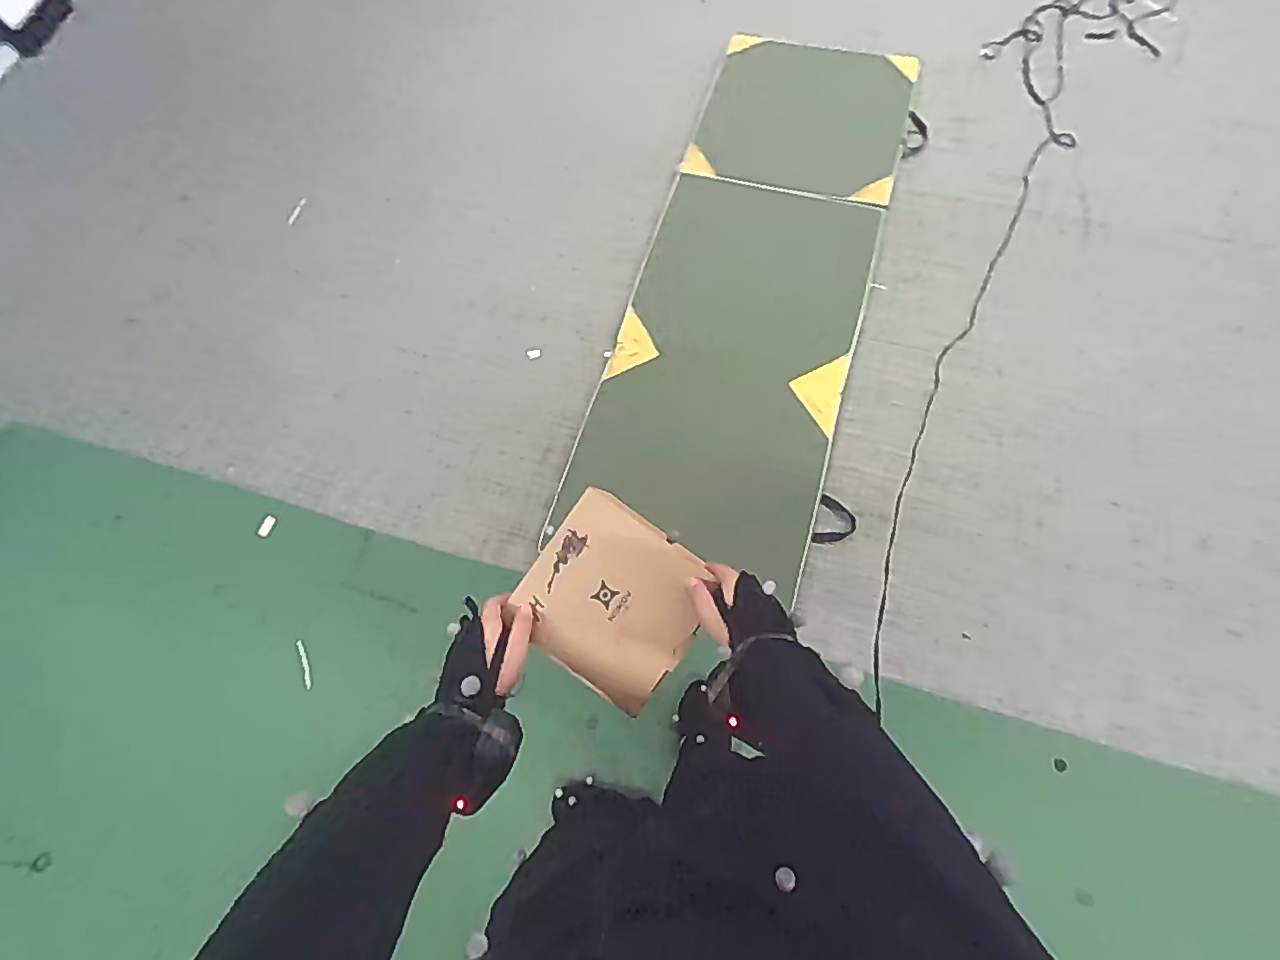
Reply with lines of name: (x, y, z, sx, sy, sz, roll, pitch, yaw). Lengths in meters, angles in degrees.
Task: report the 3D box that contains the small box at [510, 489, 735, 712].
small box: (-0.014, 0.126, 0.632, 0.179, 0.176, 0.168, 36, 88, 5)
